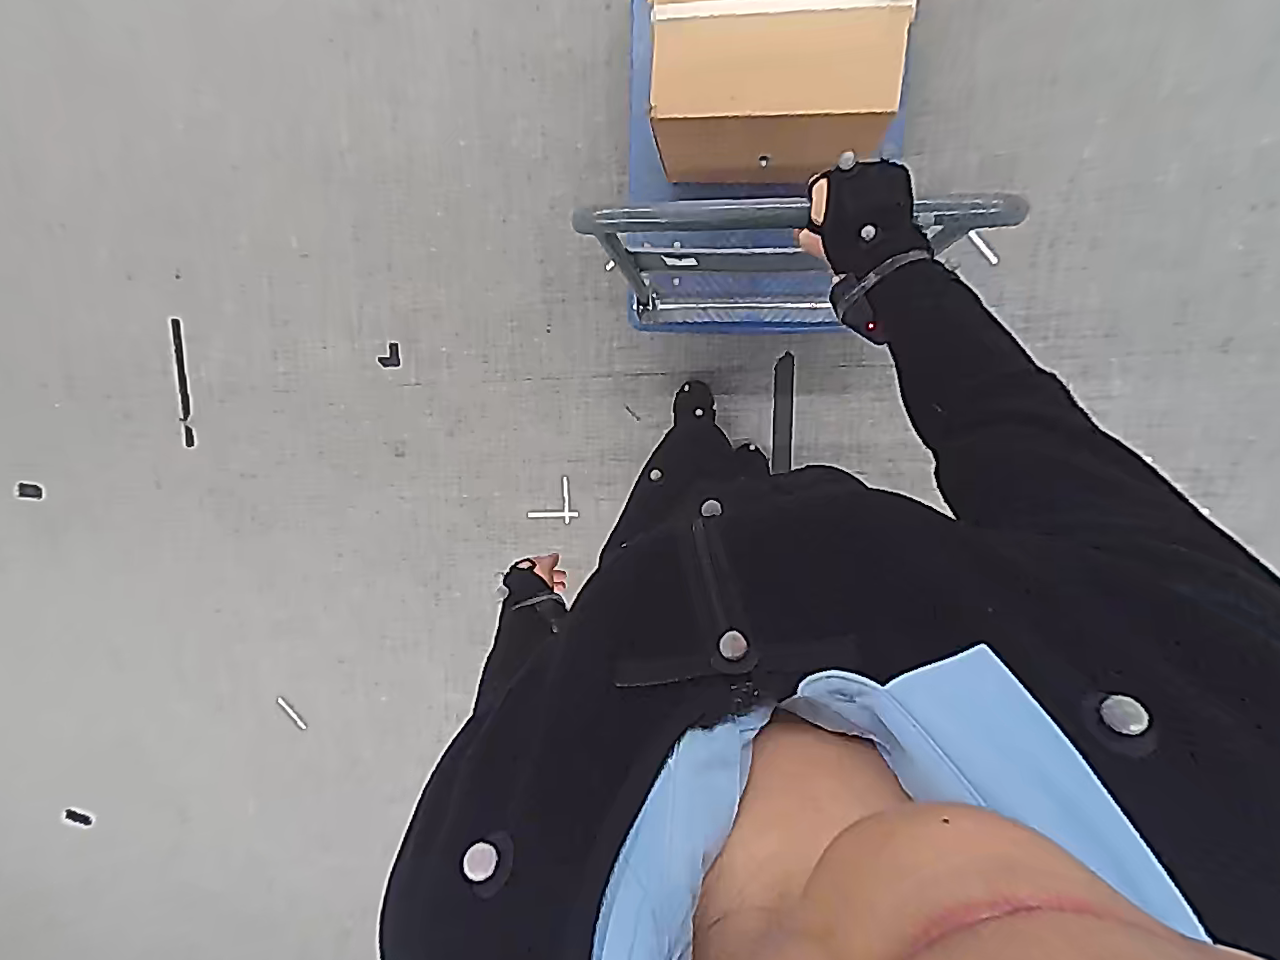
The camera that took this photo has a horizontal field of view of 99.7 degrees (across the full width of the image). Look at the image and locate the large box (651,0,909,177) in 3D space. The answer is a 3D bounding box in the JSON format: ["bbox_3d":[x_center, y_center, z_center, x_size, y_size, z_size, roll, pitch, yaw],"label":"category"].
[{"bbox_3d":[0.246,-0.782,0.997,0.408,0.320,0.320,4,99,10],"label":"large box"}]
